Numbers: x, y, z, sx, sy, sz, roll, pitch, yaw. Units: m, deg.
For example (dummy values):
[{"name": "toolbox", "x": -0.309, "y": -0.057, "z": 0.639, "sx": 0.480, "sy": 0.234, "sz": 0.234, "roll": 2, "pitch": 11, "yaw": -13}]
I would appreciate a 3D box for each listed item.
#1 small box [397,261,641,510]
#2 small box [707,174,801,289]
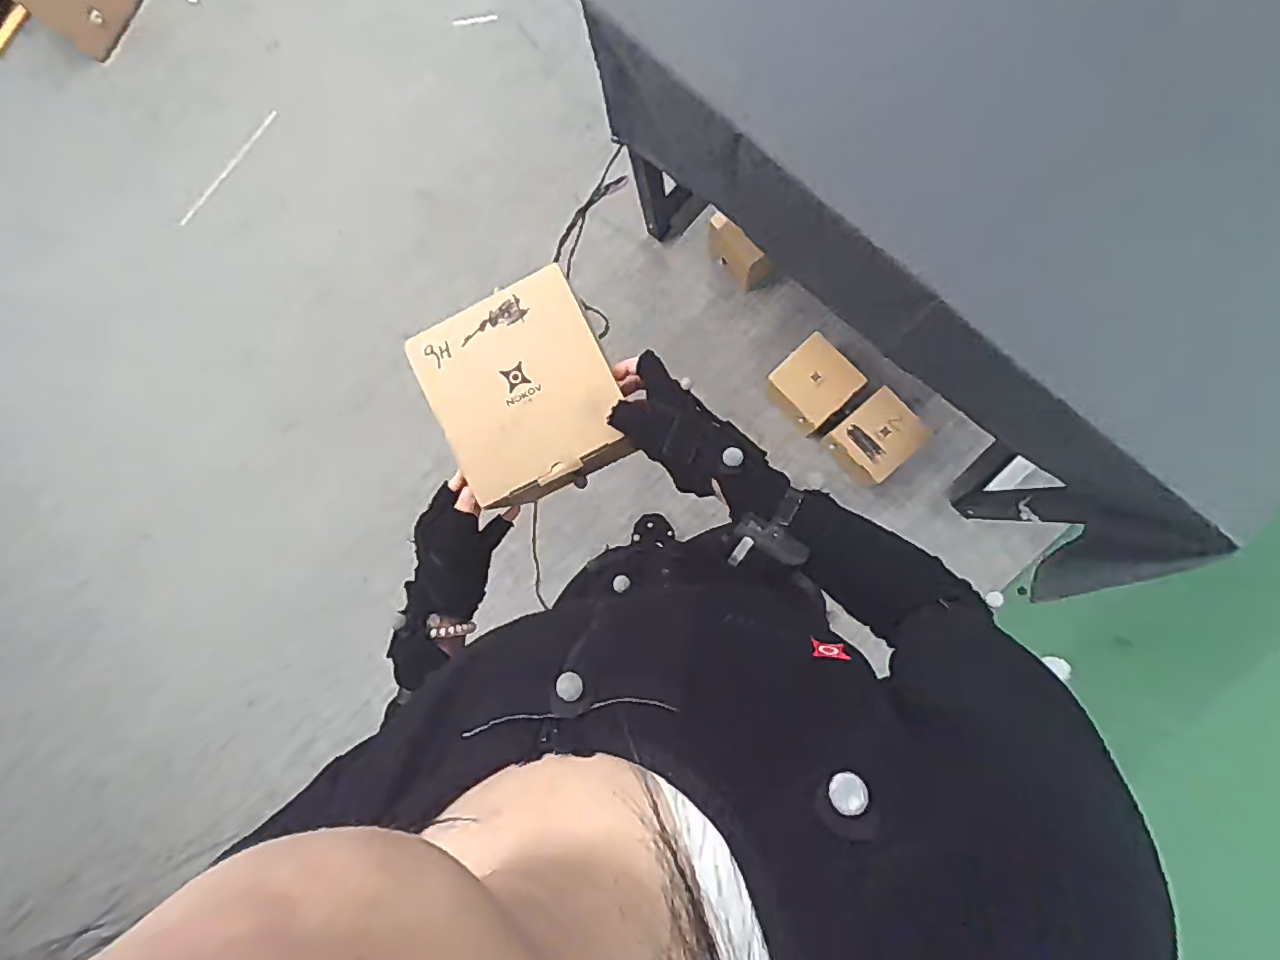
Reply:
[{"name": "small box", "x": -0.106, "y": -0.085, "z": 0.563, "sx": 0.168, "sy": 0.176, "sz": 0.179, "roll": -27, "pitch": 89, "yaw": 2}, {"name": "small box", "x": 0.288, "y": -0.640, "z": 1.413, "sx": 0.179, "sy": 0.176, "sz": 0.168, "roll": -38, "pitch": 83, "yaw": 3}]
